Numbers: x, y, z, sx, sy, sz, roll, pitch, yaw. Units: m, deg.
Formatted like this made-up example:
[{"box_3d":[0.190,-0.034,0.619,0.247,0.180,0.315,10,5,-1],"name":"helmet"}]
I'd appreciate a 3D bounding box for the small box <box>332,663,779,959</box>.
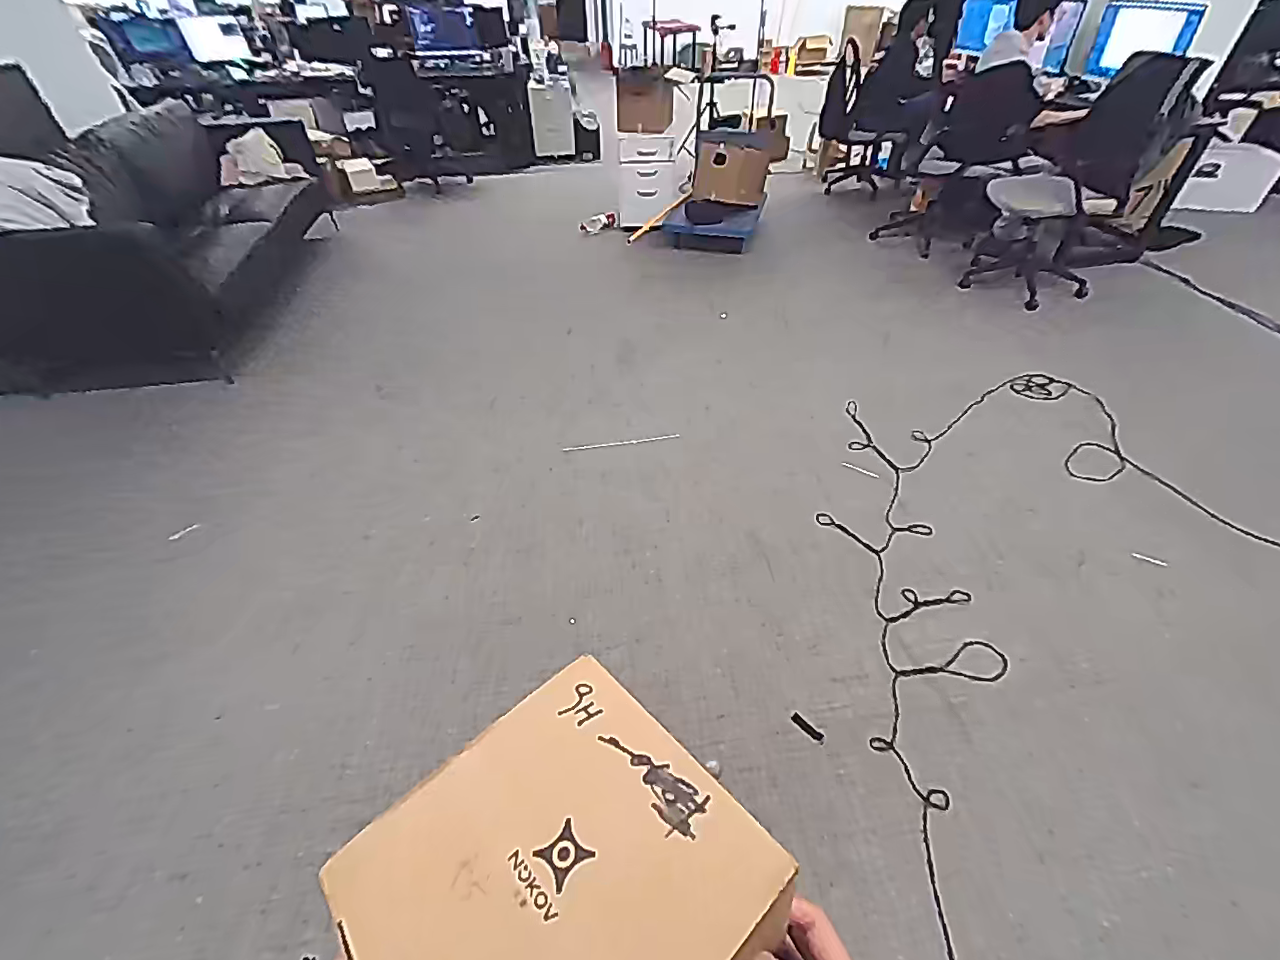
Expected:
[{"box_3d":[-0.036,0.258,0.320,0.179,0.176,0.168,-33,44,-29],"name":"small box"}]
